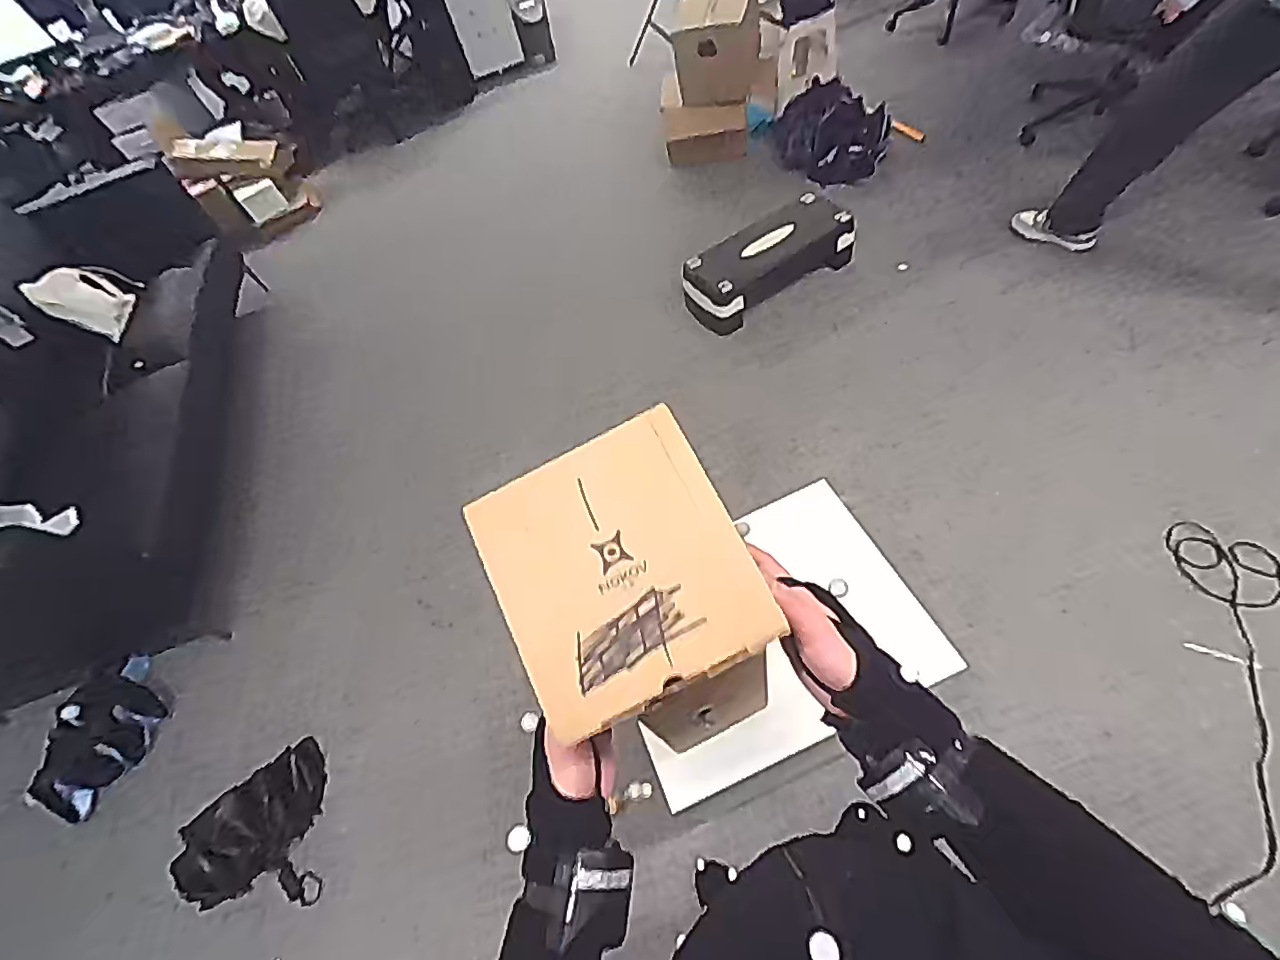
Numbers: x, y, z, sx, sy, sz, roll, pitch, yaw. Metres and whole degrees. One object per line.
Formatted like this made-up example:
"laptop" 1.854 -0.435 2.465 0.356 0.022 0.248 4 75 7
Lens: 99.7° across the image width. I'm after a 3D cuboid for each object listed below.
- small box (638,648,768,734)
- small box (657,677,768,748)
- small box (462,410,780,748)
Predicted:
"small box" 0.051 0.203 0.707 0.168 0.176 0.179 -29 56 -4
"small box" 0.084 0.288 0.841 0.168 0.176 0.179 -26 55 -4
"small box" -0.007 0.077 0.435 0.168 0.176 0.179 -27 73 1
